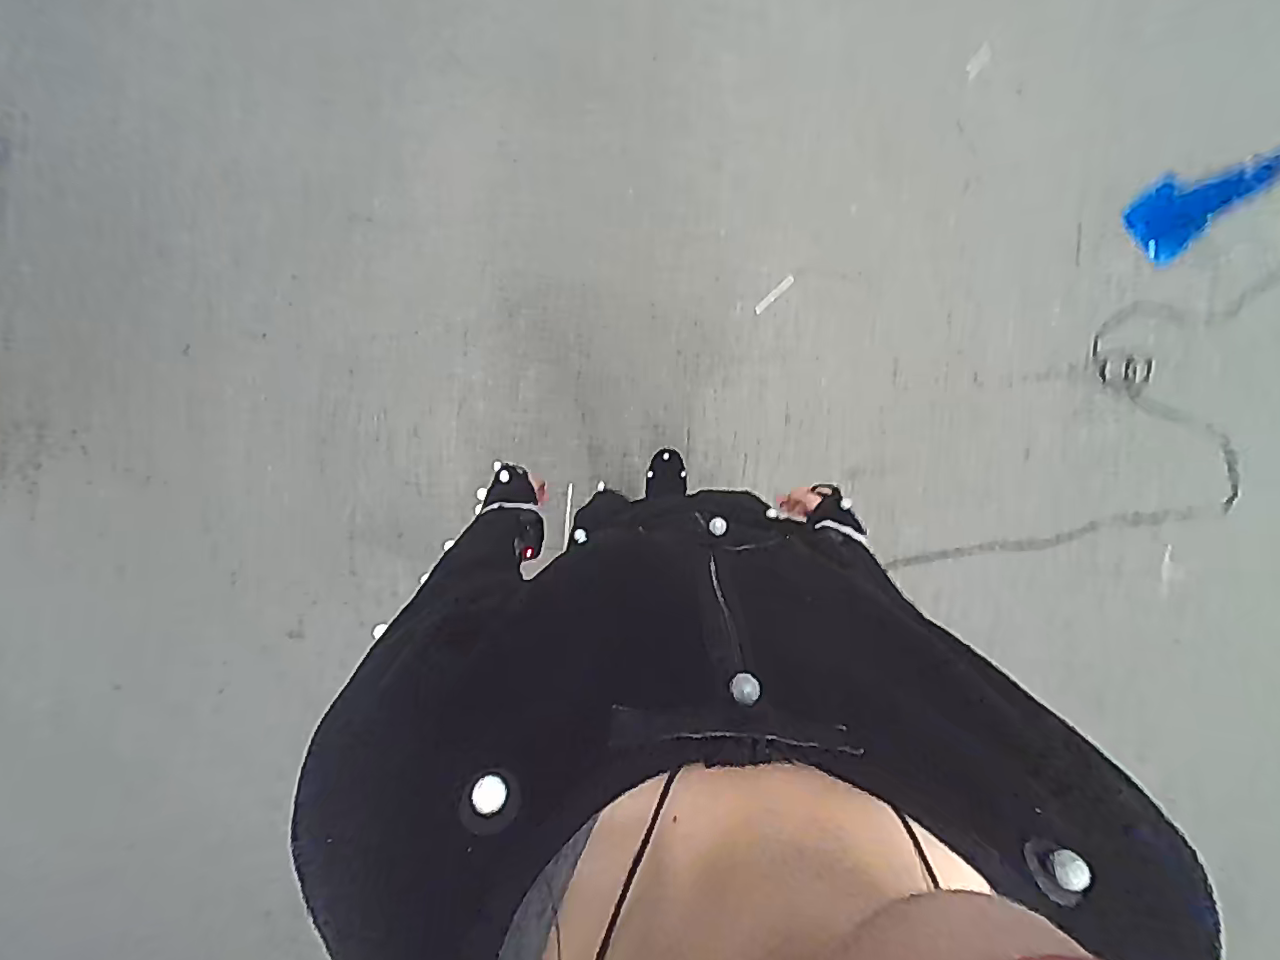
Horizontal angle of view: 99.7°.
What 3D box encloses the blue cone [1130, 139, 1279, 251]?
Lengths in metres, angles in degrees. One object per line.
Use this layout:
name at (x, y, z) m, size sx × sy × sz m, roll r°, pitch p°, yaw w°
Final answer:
blue cone at (1.508, -0.766, 1.371) m, size 0.192 × 0.380 × 0.193 m, roll -42°, pitch 90°, yaw 0°
